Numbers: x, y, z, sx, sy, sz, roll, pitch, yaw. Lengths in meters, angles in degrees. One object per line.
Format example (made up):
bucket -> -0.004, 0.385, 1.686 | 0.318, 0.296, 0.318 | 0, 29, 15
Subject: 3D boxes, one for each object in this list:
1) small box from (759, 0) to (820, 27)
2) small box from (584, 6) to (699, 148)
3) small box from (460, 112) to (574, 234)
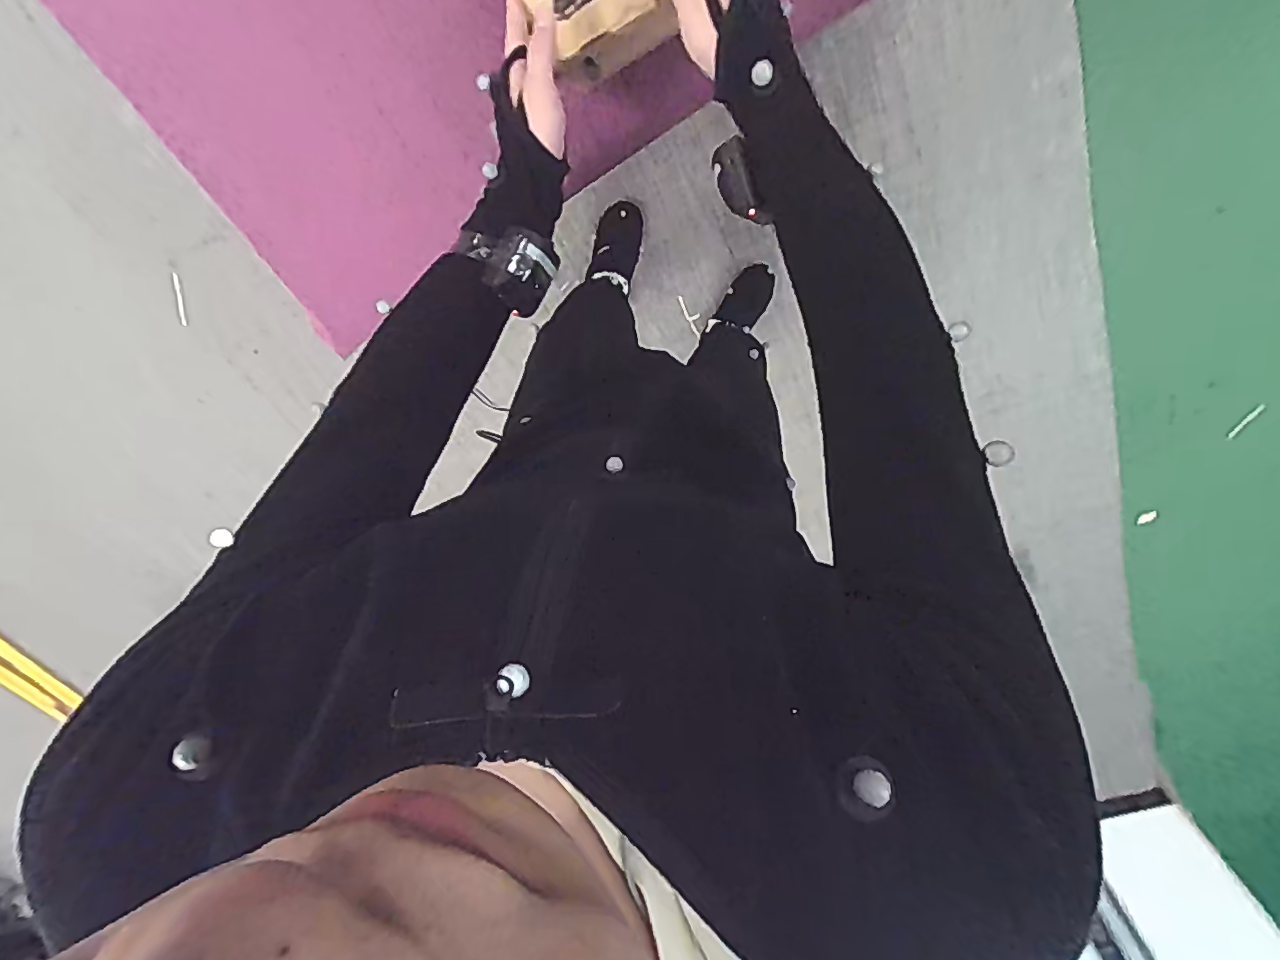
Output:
small box -> 0.308, -1.011, 1.028 | 0.168, 0.176, 0.179 | -29, 116, 17
small box -> 0.003, -0.836, 1.141 | 0.179, 0.176, 0.168 | -31, 115, 19
small box -> -0.269, -0.696, 1.229 | 0.168, 0.176, 0.179 | -34, 115, 19
